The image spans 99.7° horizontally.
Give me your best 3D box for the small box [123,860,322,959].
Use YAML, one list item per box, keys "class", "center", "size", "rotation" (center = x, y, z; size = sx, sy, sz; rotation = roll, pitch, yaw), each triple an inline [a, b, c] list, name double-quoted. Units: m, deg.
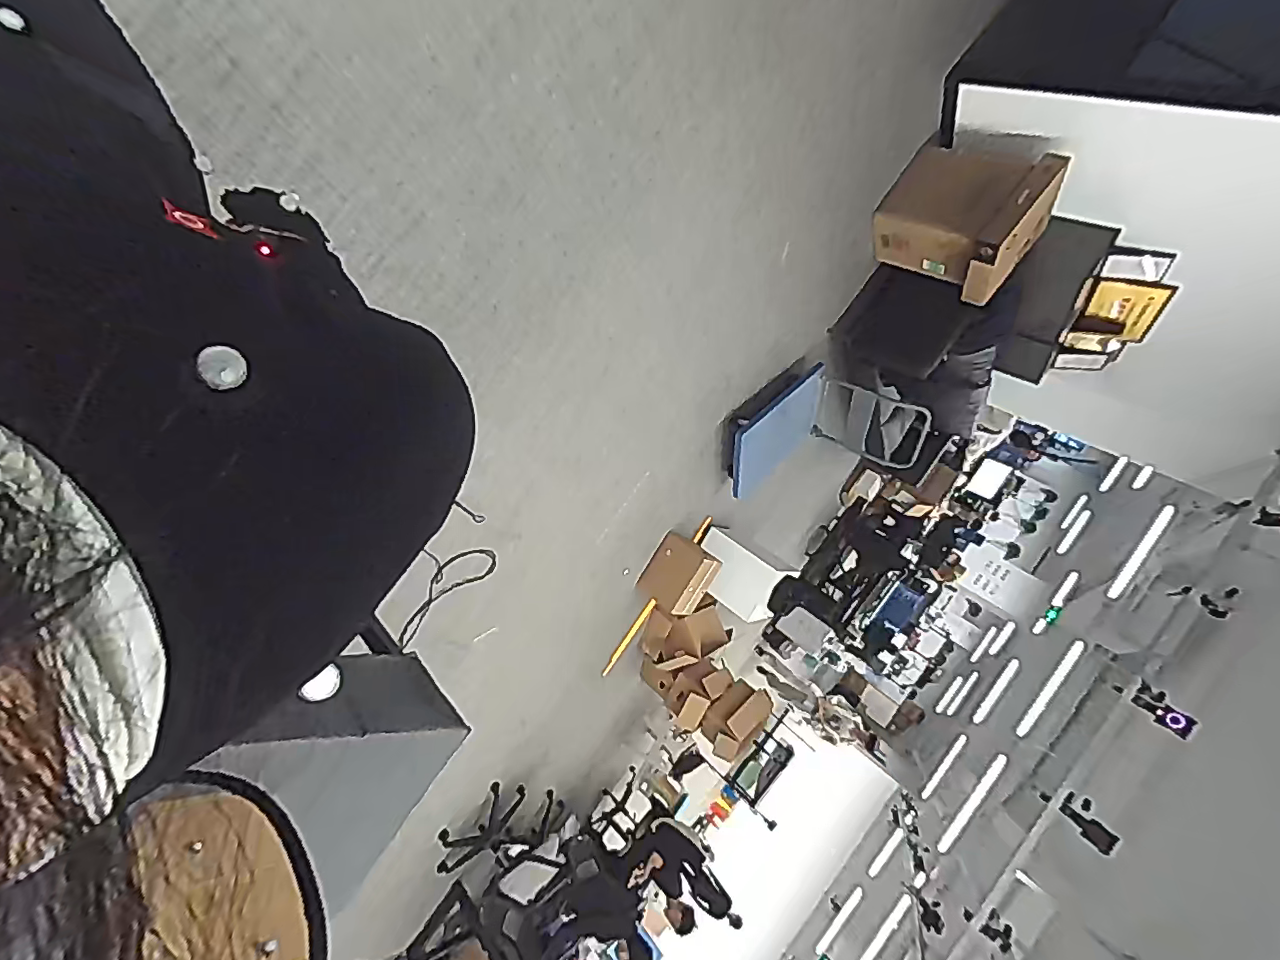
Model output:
- class: "small box"
  center: [-0.637, 0.726, 0.815]
  size: [0.168, 0.176, 0.179]
  rotation: [-54, 149, -2]
